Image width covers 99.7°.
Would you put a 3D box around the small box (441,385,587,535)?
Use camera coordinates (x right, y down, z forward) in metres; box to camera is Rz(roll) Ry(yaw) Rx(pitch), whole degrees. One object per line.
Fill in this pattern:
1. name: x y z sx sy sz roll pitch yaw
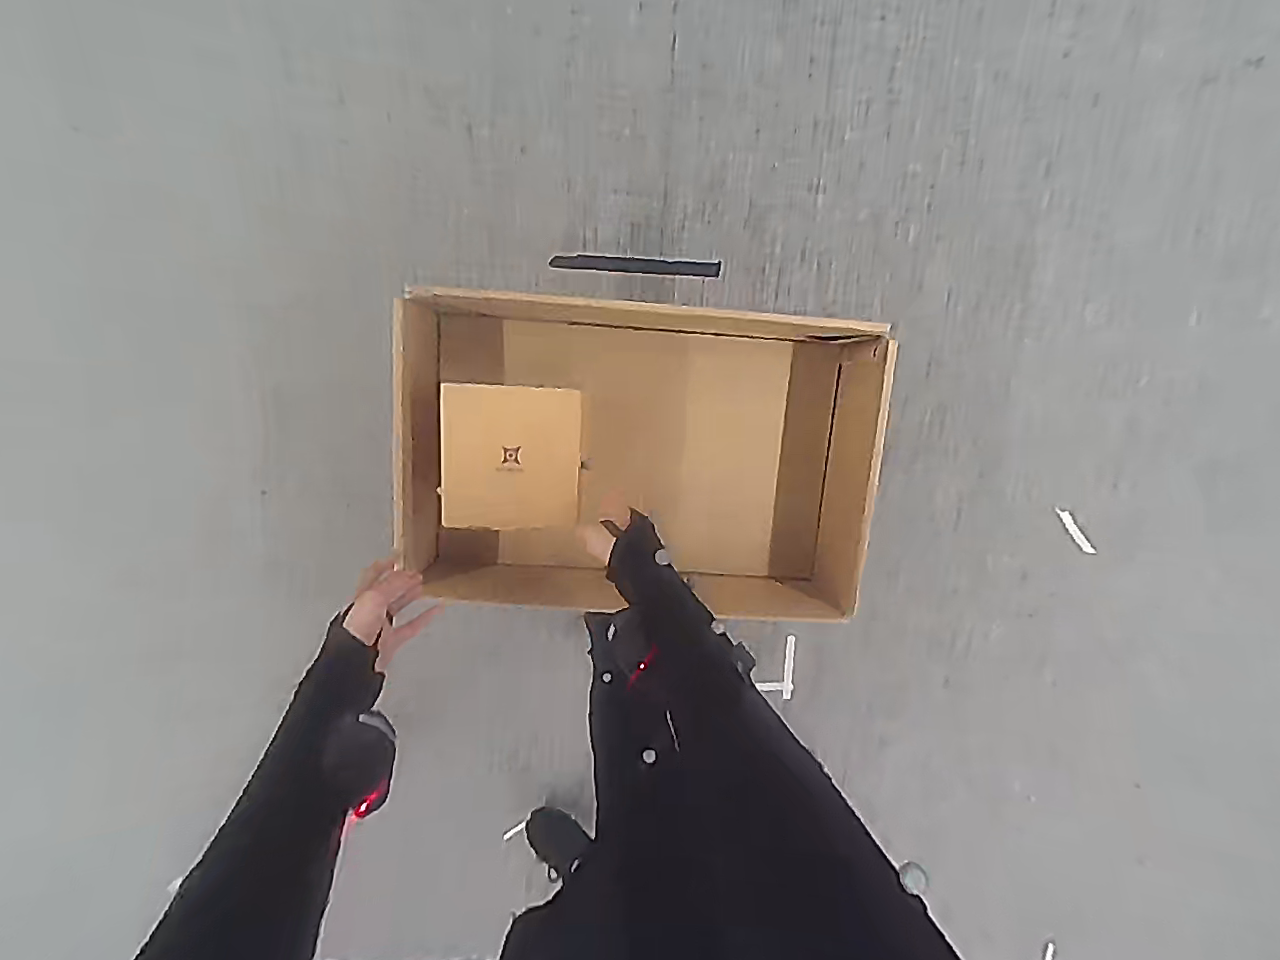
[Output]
1. small box: -0.159 -0.035 0.723 0.168 0.176 0.179 2 100 -3
